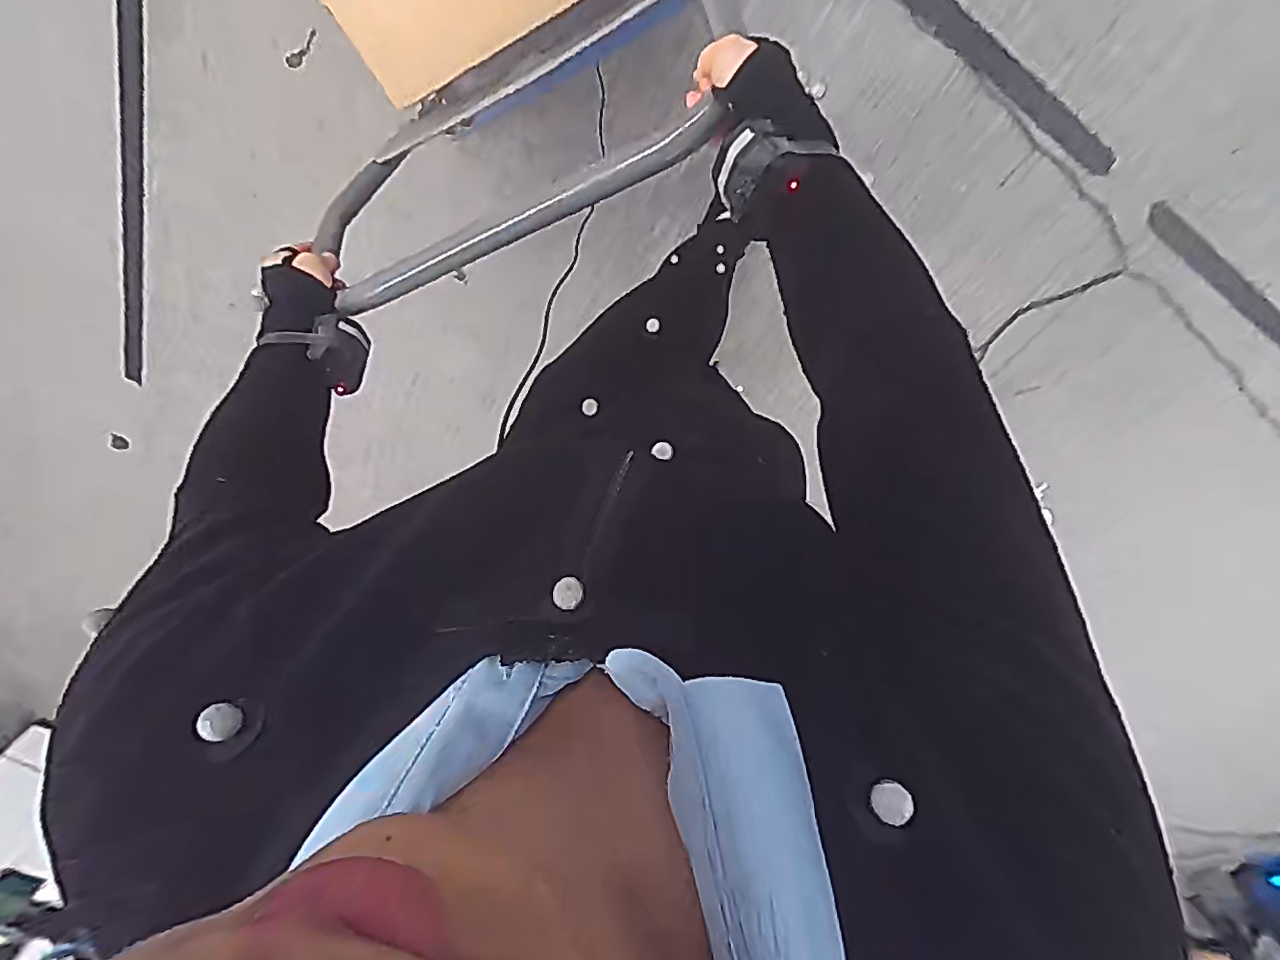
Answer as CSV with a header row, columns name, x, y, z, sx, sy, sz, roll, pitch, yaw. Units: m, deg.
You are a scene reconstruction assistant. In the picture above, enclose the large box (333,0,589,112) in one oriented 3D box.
name,x,y,z,sx,sy,sz,roll,pitch,yaw
large box,-0.212,-0.774,0.709,0.408,0.320,0.320,-17,132,18
